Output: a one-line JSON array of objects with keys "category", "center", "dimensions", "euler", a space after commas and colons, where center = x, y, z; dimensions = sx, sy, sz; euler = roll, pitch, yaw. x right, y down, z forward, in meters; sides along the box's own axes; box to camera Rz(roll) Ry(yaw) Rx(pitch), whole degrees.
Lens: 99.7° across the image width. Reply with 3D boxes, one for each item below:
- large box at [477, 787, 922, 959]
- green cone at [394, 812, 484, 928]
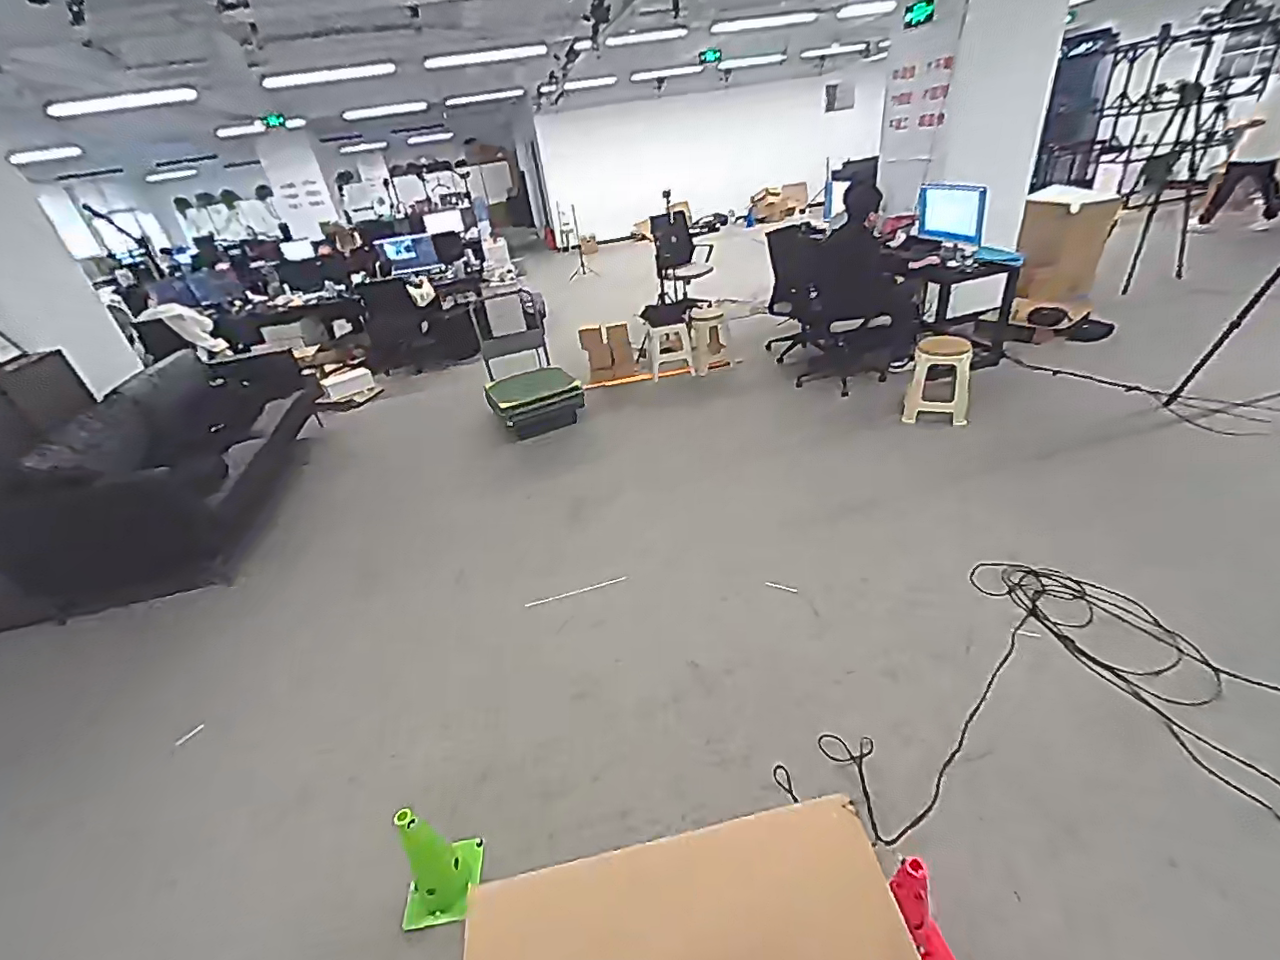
[{"category": "large box", "center": [0.072, 0.583, 0.554], "dimensions": [0.408, 0.320, 0.320], "euler": [-12, 43, -5]}, {"category": "green cone", "center": [-0.569, 0.986, 1.434], "dimensions": [0.200, 0.368, 0.202], "euler": [-11, 33, -3]}]
